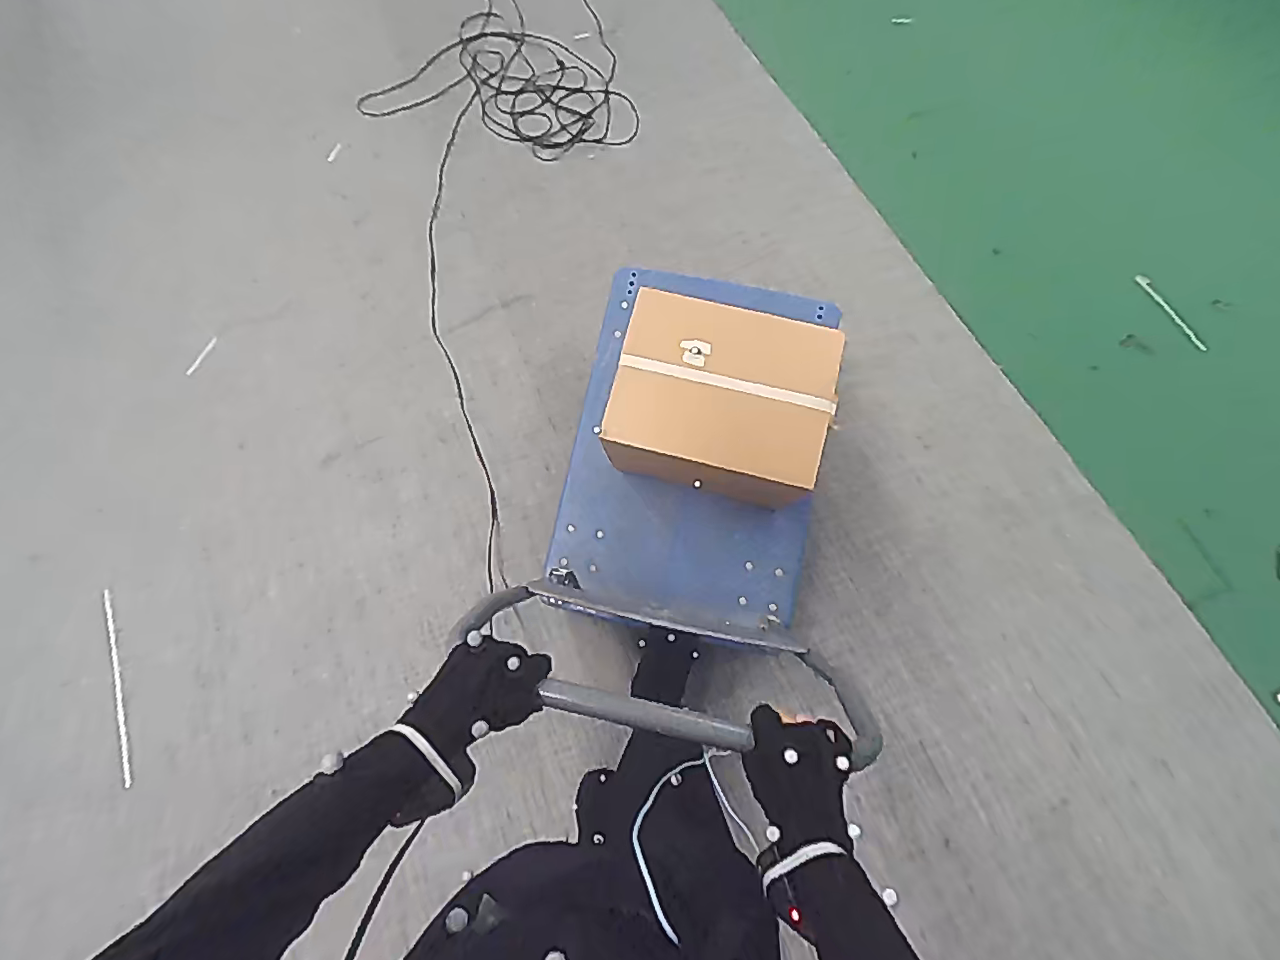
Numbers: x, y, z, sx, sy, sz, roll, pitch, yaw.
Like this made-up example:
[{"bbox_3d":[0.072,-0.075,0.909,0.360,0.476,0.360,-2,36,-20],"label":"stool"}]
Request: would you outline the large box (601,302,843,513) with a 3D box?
[{"bbox_3d":[0.166,-0.133,1.158,0.408,0.320,0.320,14,81,6],"label":"large box"}]
